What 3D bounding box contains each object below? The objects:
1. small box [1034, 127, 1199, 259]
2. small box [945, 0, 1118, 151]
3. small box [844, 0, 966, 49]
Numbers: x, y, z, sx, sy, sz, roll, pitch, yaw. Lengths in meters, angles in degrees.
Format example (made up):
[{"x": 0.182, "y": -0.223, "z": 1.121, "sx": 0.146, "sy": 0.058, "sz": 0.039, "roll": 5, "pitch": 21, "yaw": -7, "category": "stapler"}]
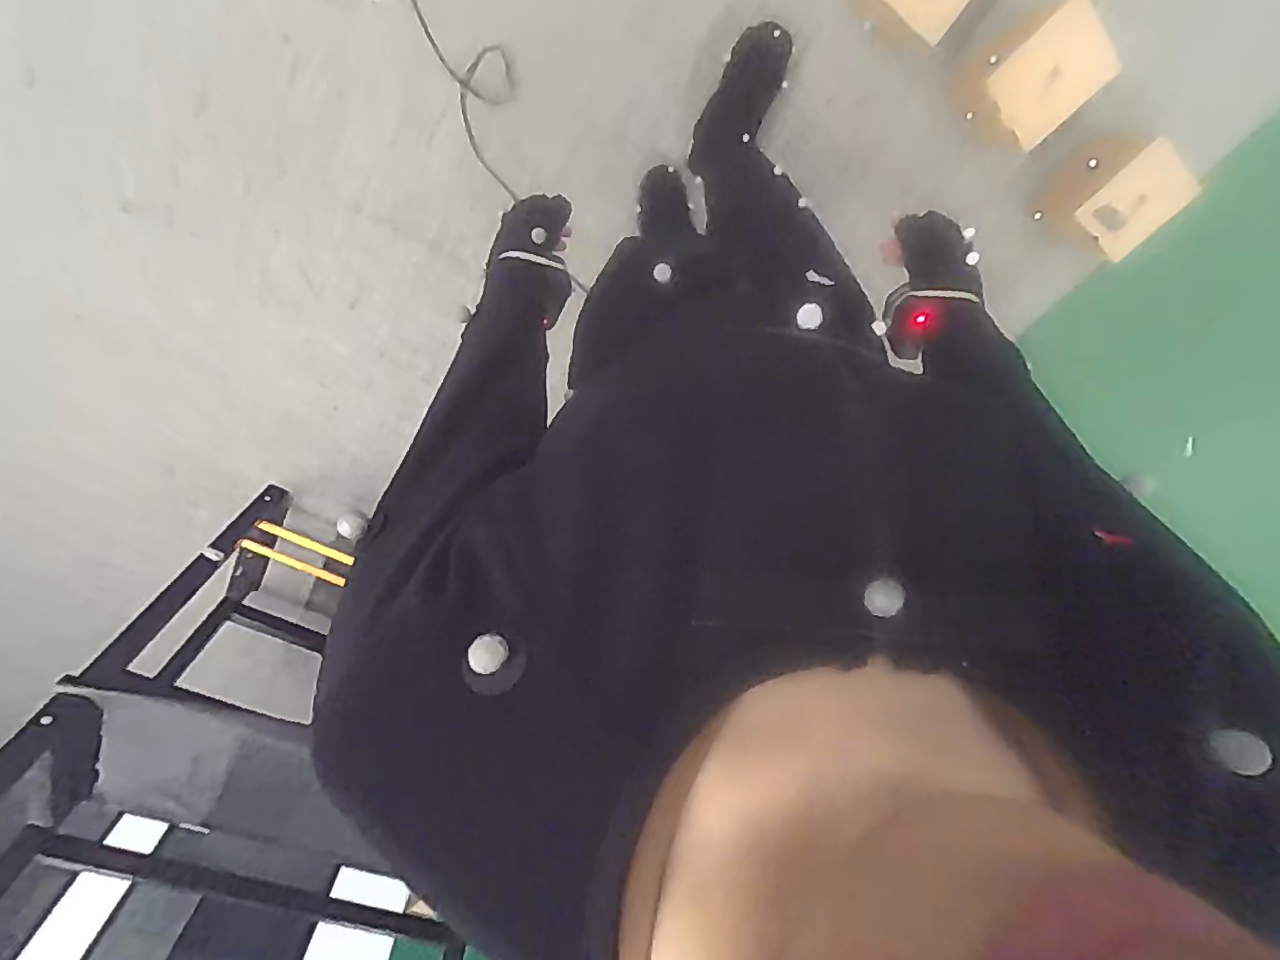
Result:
[{"x": 0.976, "y": -0.602, "z": 1.131, "sx": 0.168, "sy": 0.176, "sz": 0.179, "roll": 31, "pitch": 120, "yaw": -19, "category": "small box"}, {"x": 0.725, "y": -0.765, "z": 1.020, "sx": 0.168, "sy": 0.176, "sz": 0.179, "roll": 36, "pitch": 119, "yaw": -22, "category": "small box"}, {"x": 0.485, "y": -0.892, "z": 0.934, "sx": 0.168, "sy": 0.176, "sz": 0.179, "roll": 28, "pitch": 123, "yaw": -15, "category": "small box"}]
